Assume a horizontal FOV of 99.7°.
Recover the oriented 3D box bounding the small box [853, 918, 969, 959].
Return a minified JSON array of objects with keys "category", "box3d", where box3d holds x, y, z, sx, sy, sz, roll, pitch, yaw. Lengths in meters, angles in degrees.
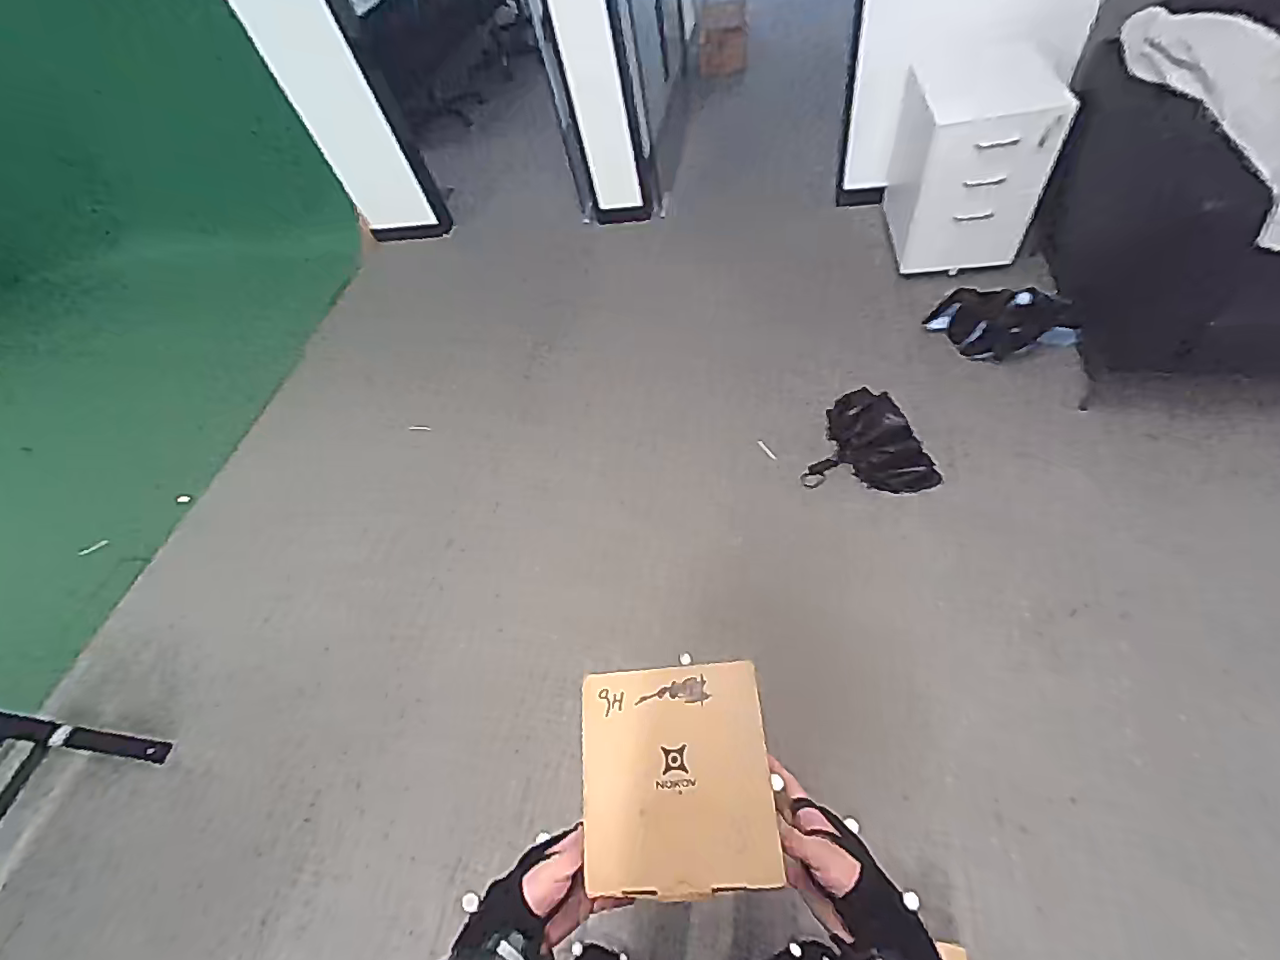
[{"category":"small box","box3d":[0.512,0.947,1.020,0.179,0.176,0.168,-2,55,13]}]
